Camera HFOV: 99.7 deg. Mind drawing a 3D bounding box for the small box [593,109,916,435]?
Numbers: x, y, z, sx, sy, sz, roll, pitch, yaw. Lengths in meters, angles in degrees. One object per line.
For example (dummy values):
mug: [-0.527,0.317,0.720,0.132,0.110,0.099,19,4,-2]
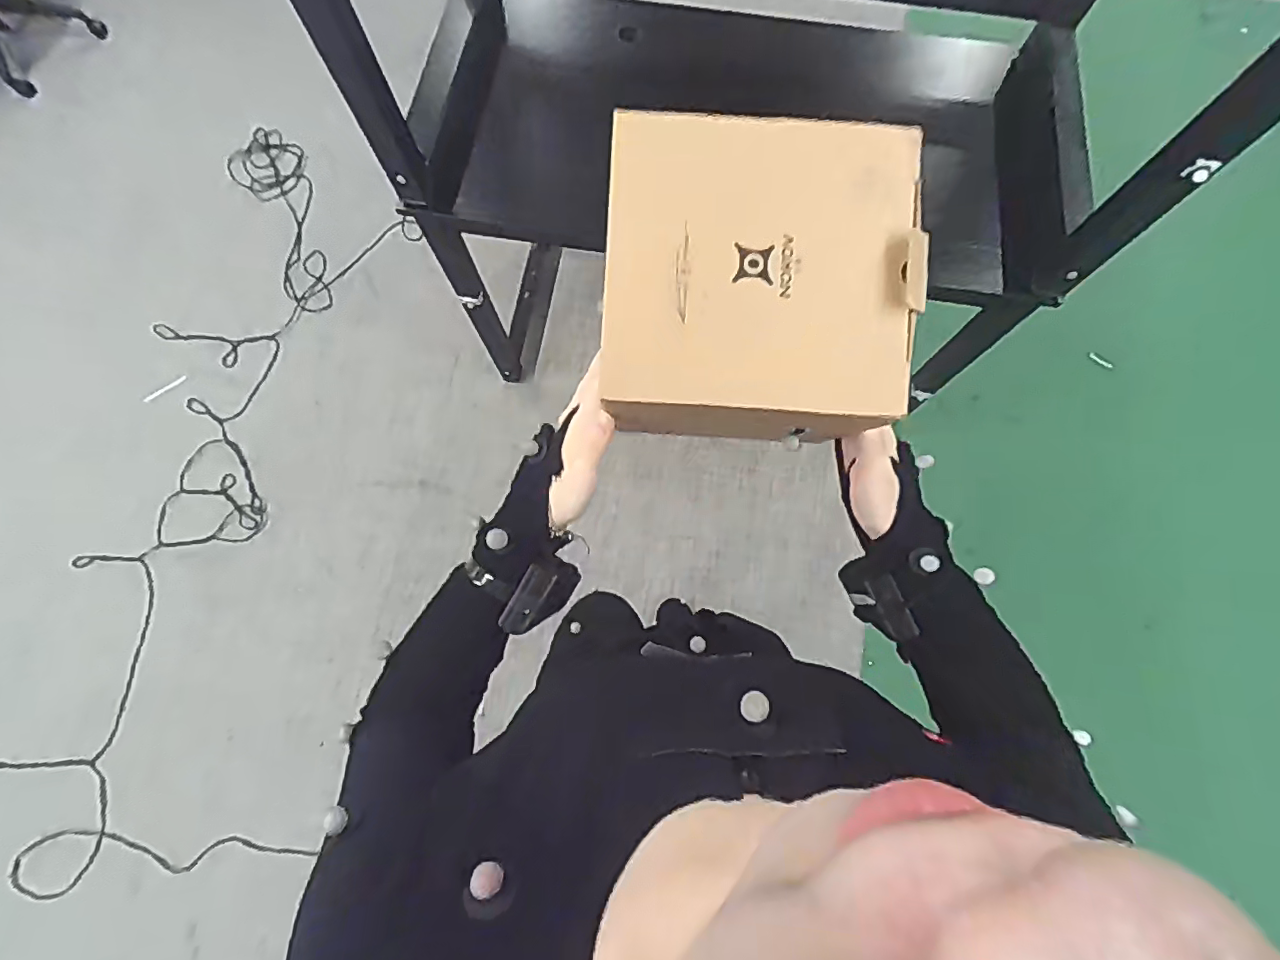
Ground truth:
small box: [0.066,-0.123,0.384,0.179,0.176,0.168,3,89,2]
